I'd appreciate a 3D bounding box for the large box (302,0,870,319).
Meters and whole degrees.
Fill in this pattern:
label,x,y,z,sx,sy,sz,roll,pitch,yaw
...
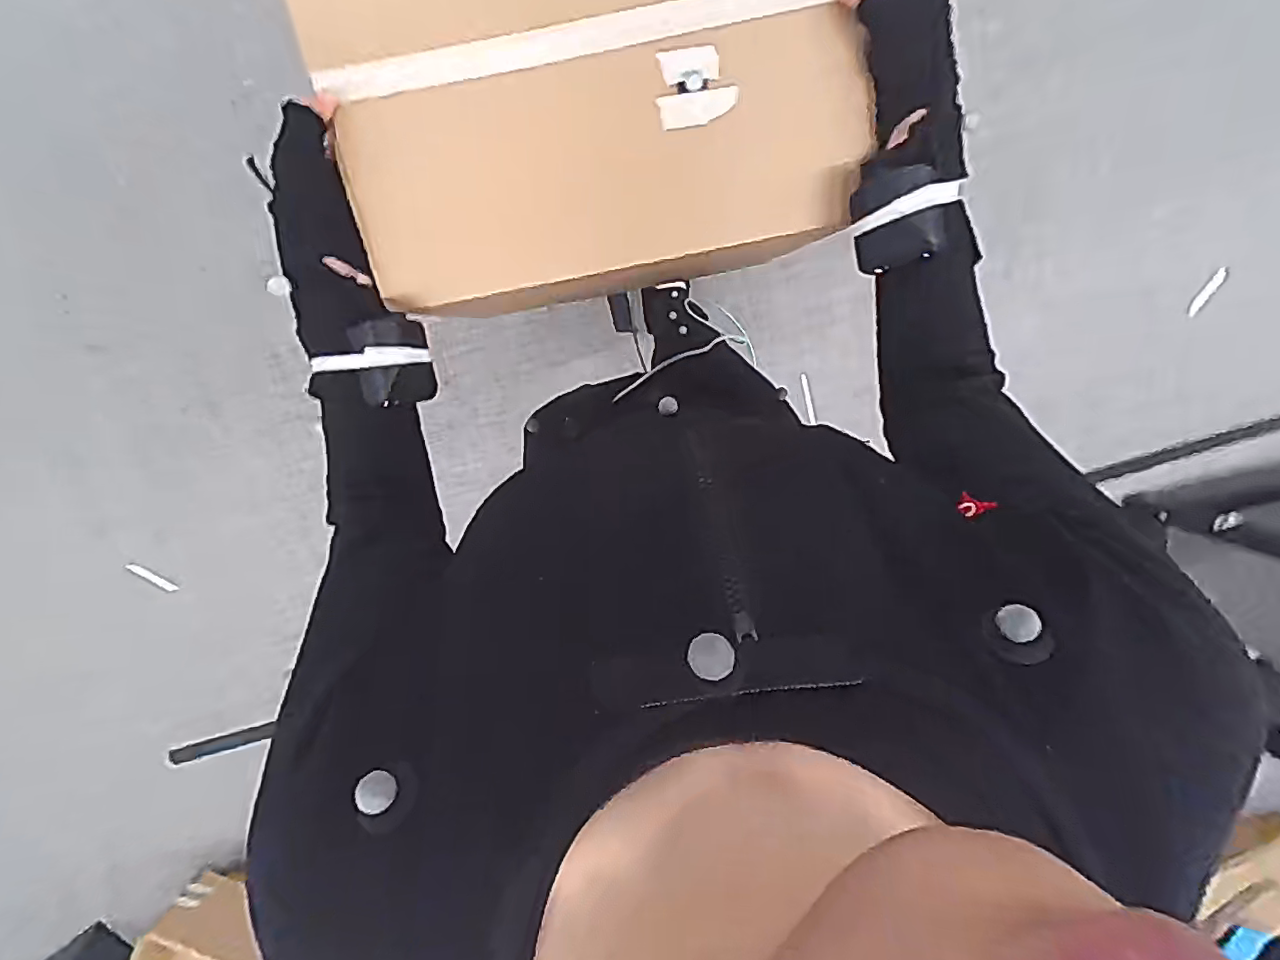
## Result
label,x,y,z,sx,sy,sz,roll,pitch,yaw
large box,-0.046,-0.362,0.545,0.408,0.320,0.320,-12,107,-1
